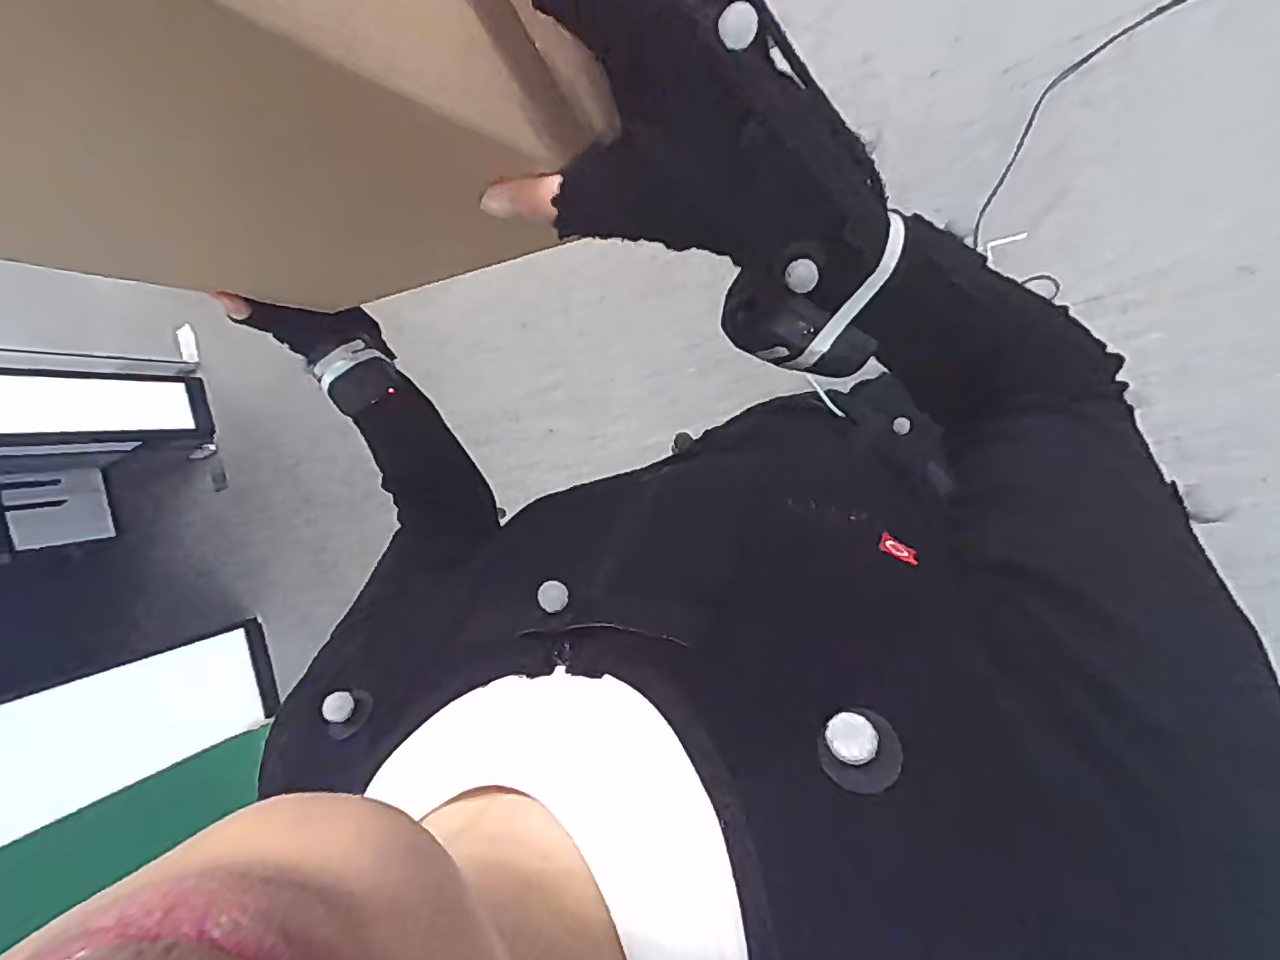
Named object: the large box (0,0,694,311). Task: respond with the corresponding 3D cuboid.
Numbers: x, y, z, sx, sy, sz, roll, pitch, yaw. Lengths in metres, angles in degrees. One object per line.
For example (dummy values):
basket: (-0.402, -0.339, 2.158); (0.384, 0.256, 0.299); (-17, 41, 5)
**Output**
large box: (-0.220, -0.289, 0.258); (0.408, 0.320, 0.320); (6, 97, 40)
